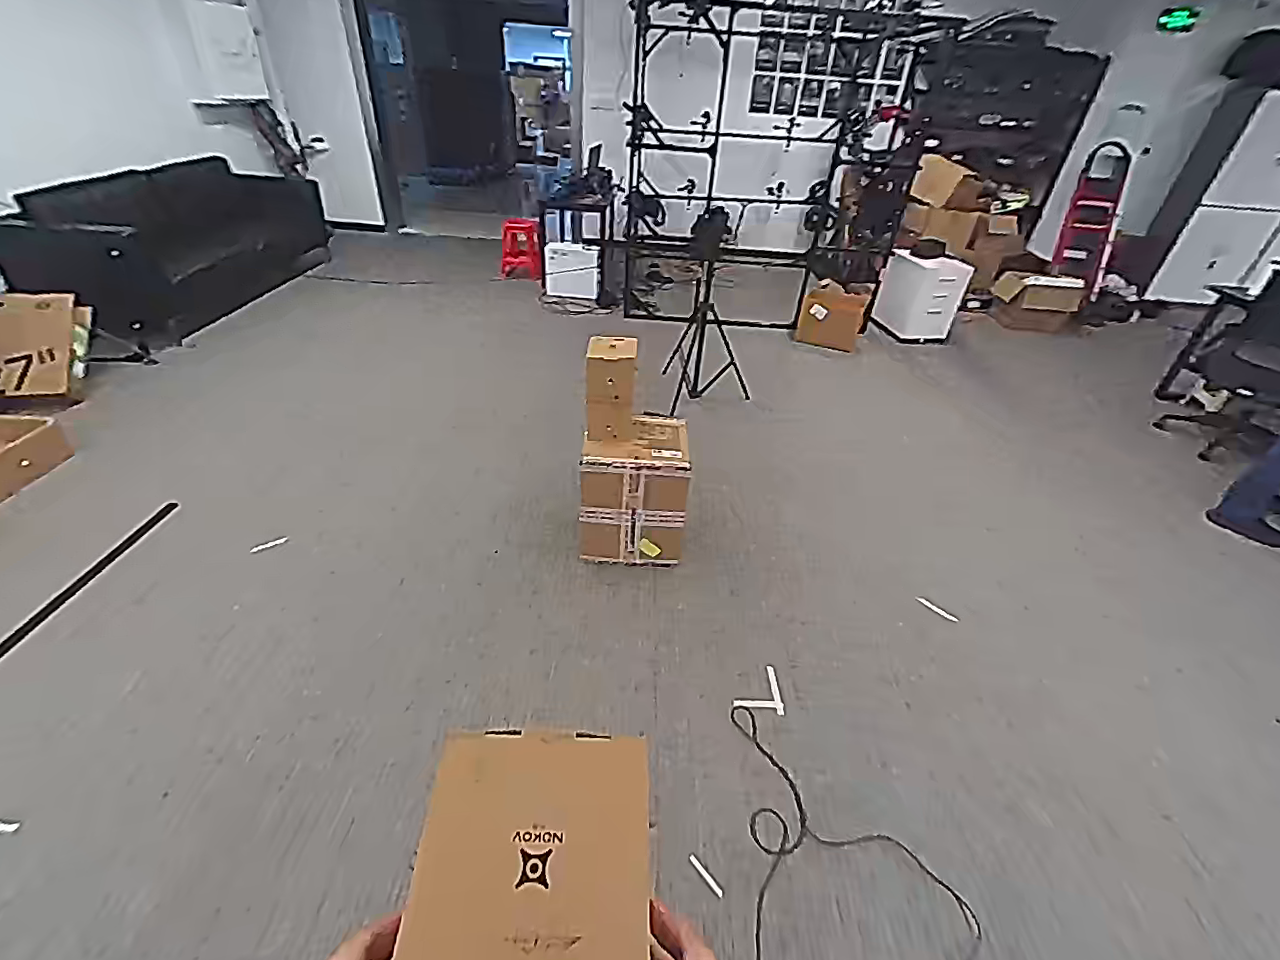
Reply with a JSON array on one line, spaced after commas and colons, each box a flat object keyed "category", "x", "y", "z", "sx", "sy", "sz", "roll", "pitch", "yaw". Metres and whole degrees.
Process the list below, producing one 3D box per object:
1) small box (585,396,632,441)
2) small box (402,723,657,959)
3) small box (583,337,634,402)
[{"category": "small box", "x": -0.115, "y": -0.263, "z": 2.010, "sx": 0.168, "sy": 0.176, "sz": 0.179, "roll": 1, "pitch": 38, "yaw": -1}, {"category": "small box", "x": -0.078, "y": 0.323, "z": 0.445, "sx": 0.168, "sy": 0.176, "sz": 0.179, "roll": 4, "pitch": 46, "yaw": -4}, {"category": "small box", "x": -0.105, "y": -0.388, "z": 1.902, "sx": 0.168, "sy": 0.176, "sz": 0.179, "roll": 2, "pitch": 38, "yaw": 0}]
